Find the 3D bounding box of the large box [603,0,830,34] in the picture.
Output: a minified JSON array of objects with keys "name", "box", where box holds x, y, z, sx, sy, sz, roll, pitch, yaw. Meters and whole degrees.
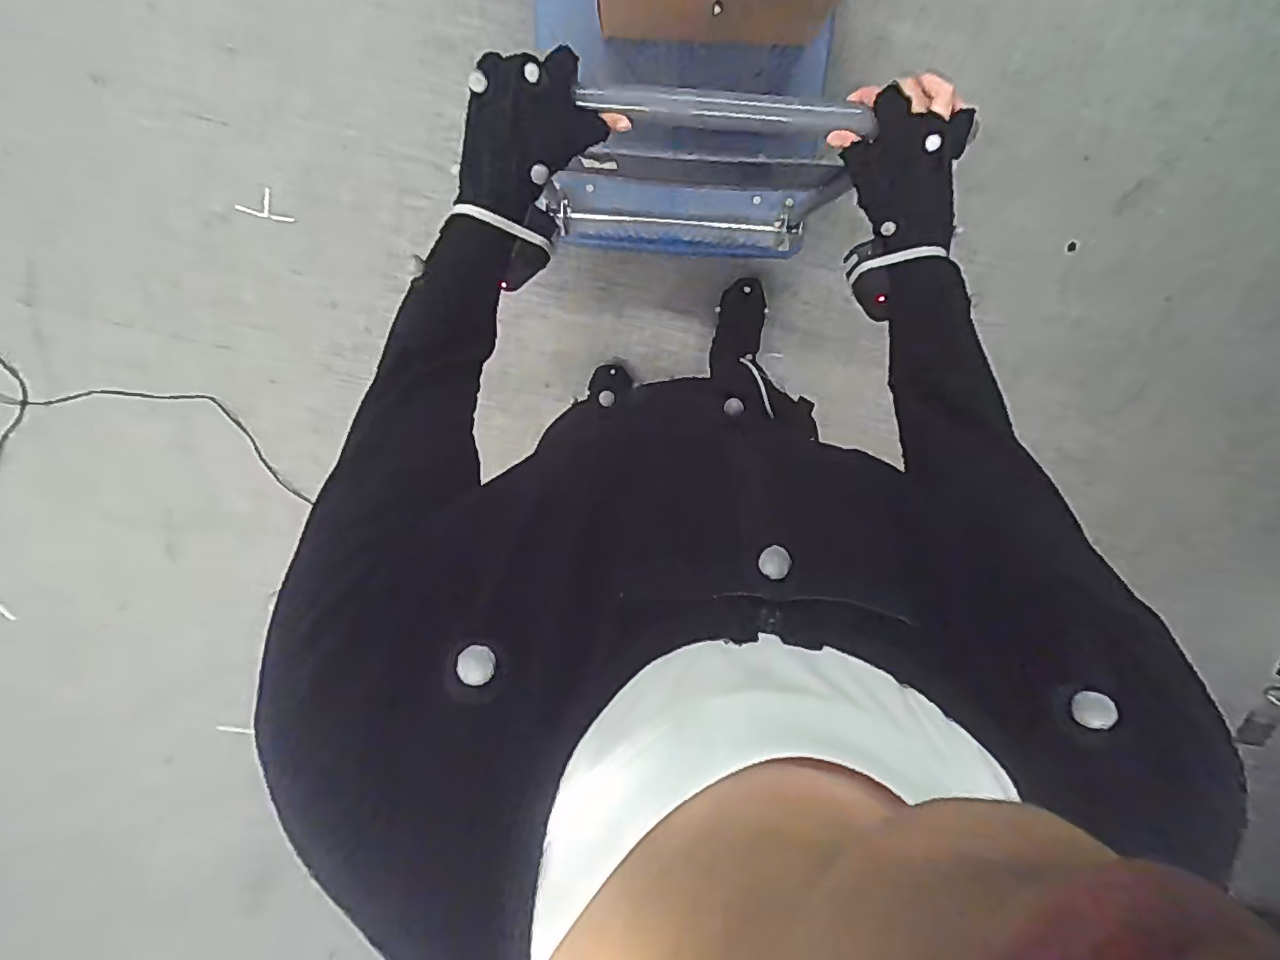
[{"name":"large box","box":[0.135,-0.967,0.866,0.408,0.320,0.320,0,106,-1]}]
